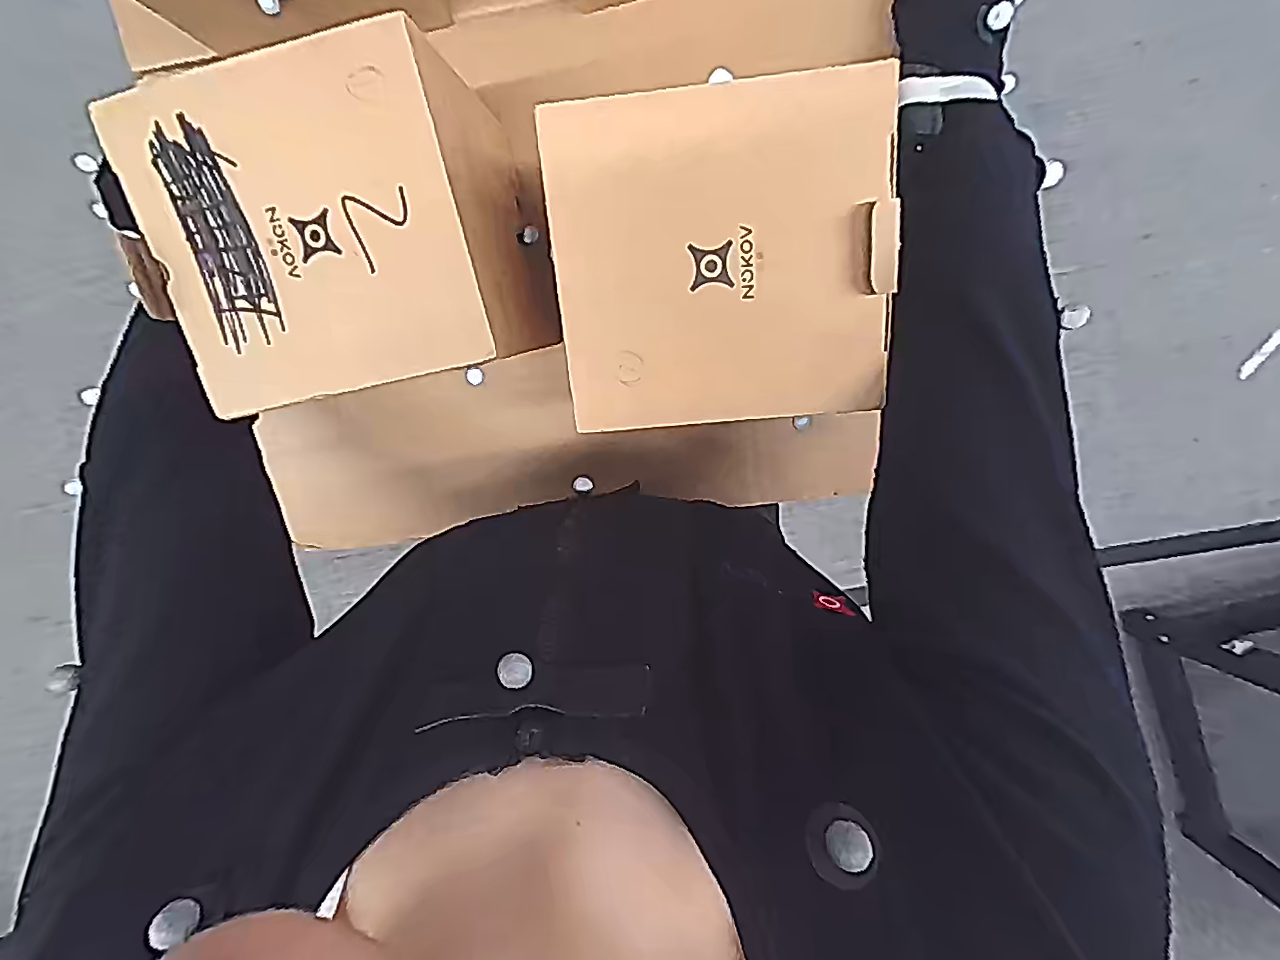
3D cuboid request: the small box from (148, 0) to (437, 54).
[{"bbox_3d":[-0.239,-0.385,0.309,0.168,0.176,0.179,-8,103,5],"label":"small box"}]
